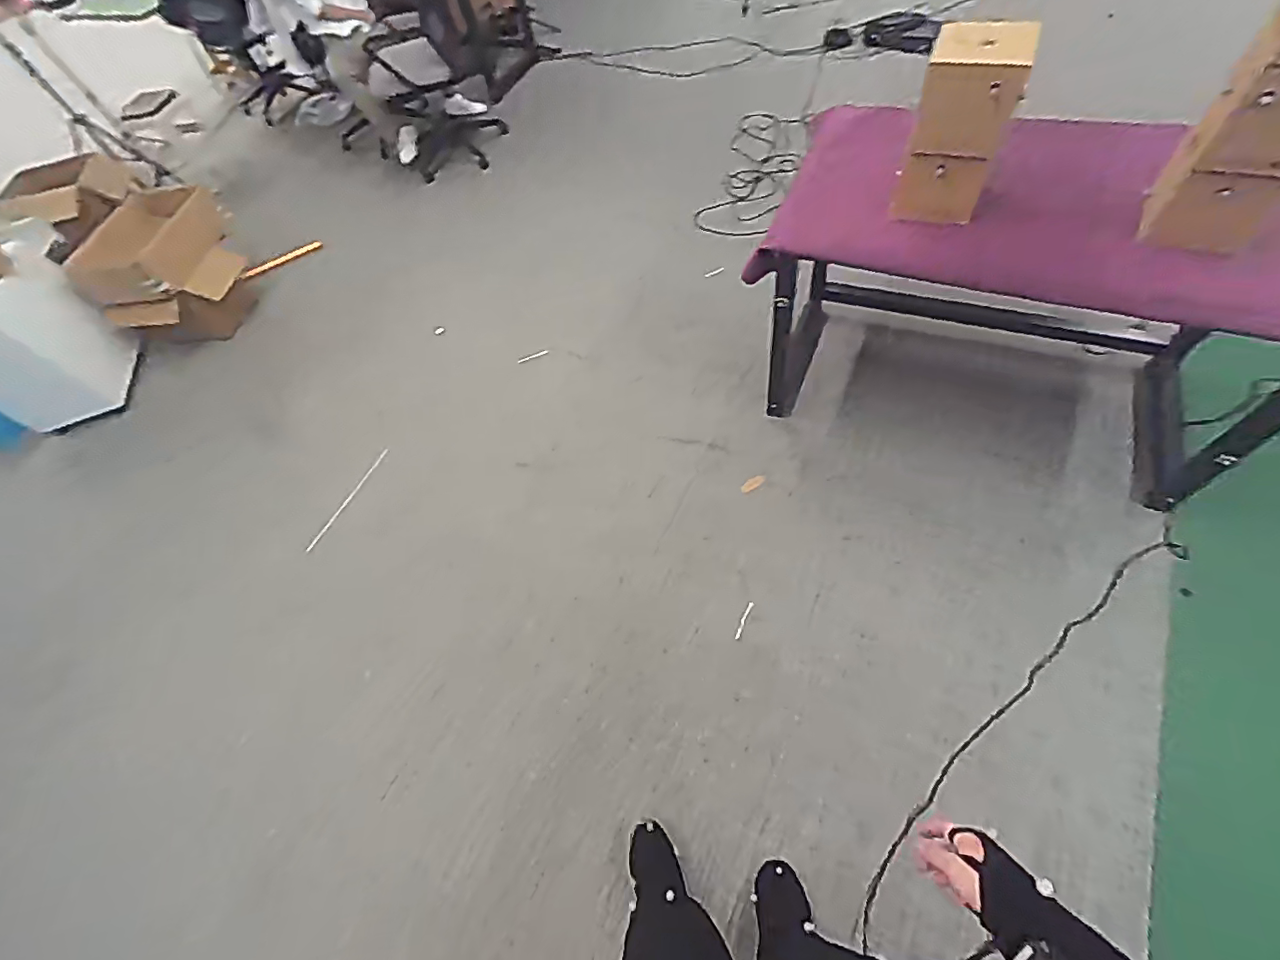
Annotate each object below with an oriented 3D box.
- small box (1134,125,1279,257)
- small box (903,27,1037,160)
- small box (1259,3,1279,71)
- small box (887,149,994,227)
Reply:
[{"bbox_3d":[1.142,-0.573,1.080,0.179,0.176,0.168,21,65,21],"label":"small box"},{"bbox_3d":[0.664,-0.783,1.102,0.179,0.176,0.168,18,64,20],"label":"small box"},{"bbox_3d":[1.085,-0.726,0.796,0.179,0.176,0.168,23,66,22],"label":"small box"},{"bbox_3d":[0.694,-0.711,1.249,0.179,0.176,0.168,16,64,20],"label":"small box"}]
